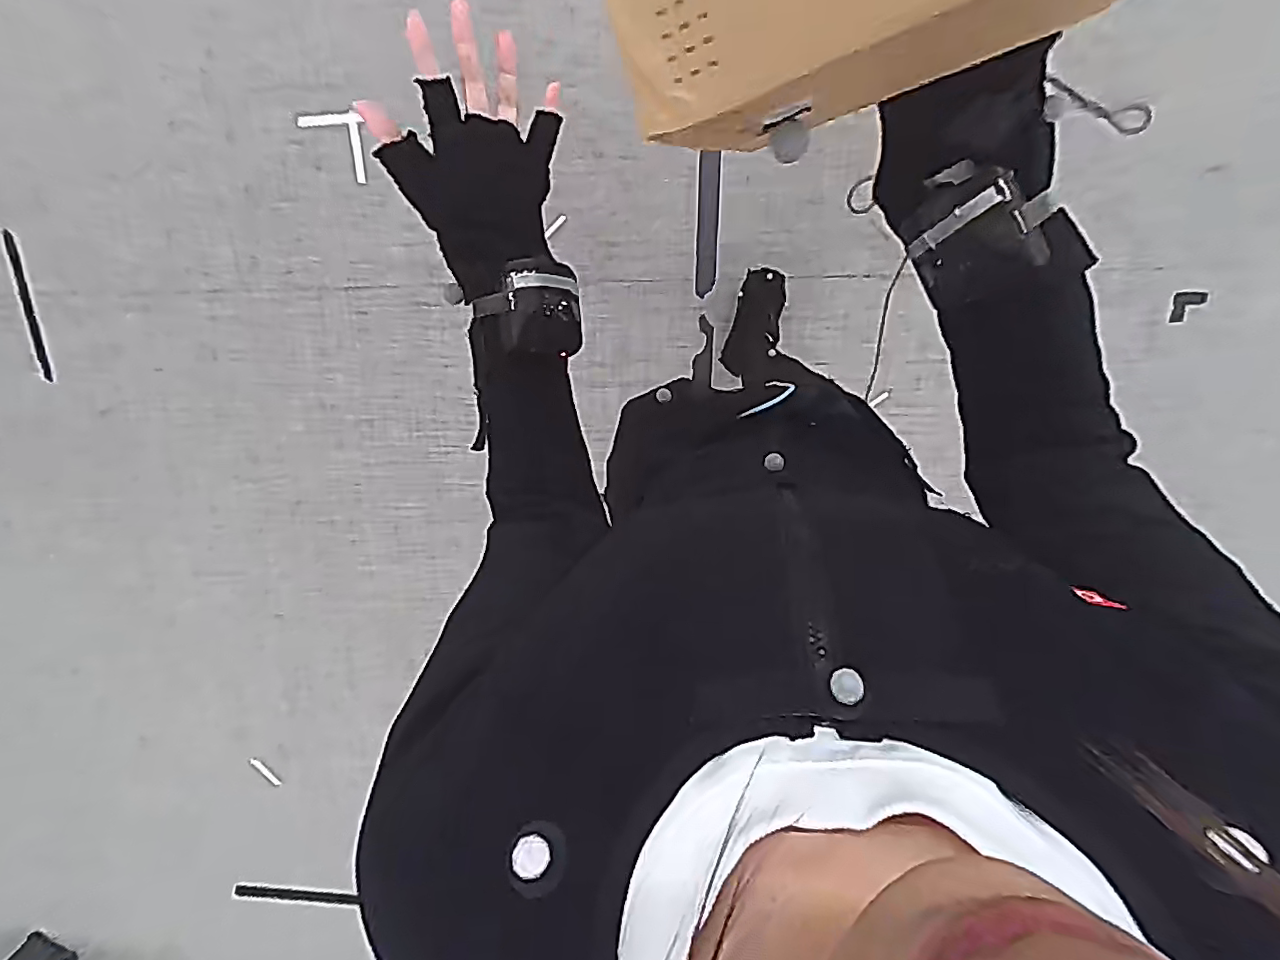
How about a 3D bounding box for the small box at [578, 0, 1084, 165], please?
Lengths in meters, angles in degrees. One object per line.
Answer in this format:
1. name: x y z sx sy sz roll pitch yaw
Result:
1. small box: 0.069 -0.245 0.199 0.176 0.168 0.179 -6 115 31
